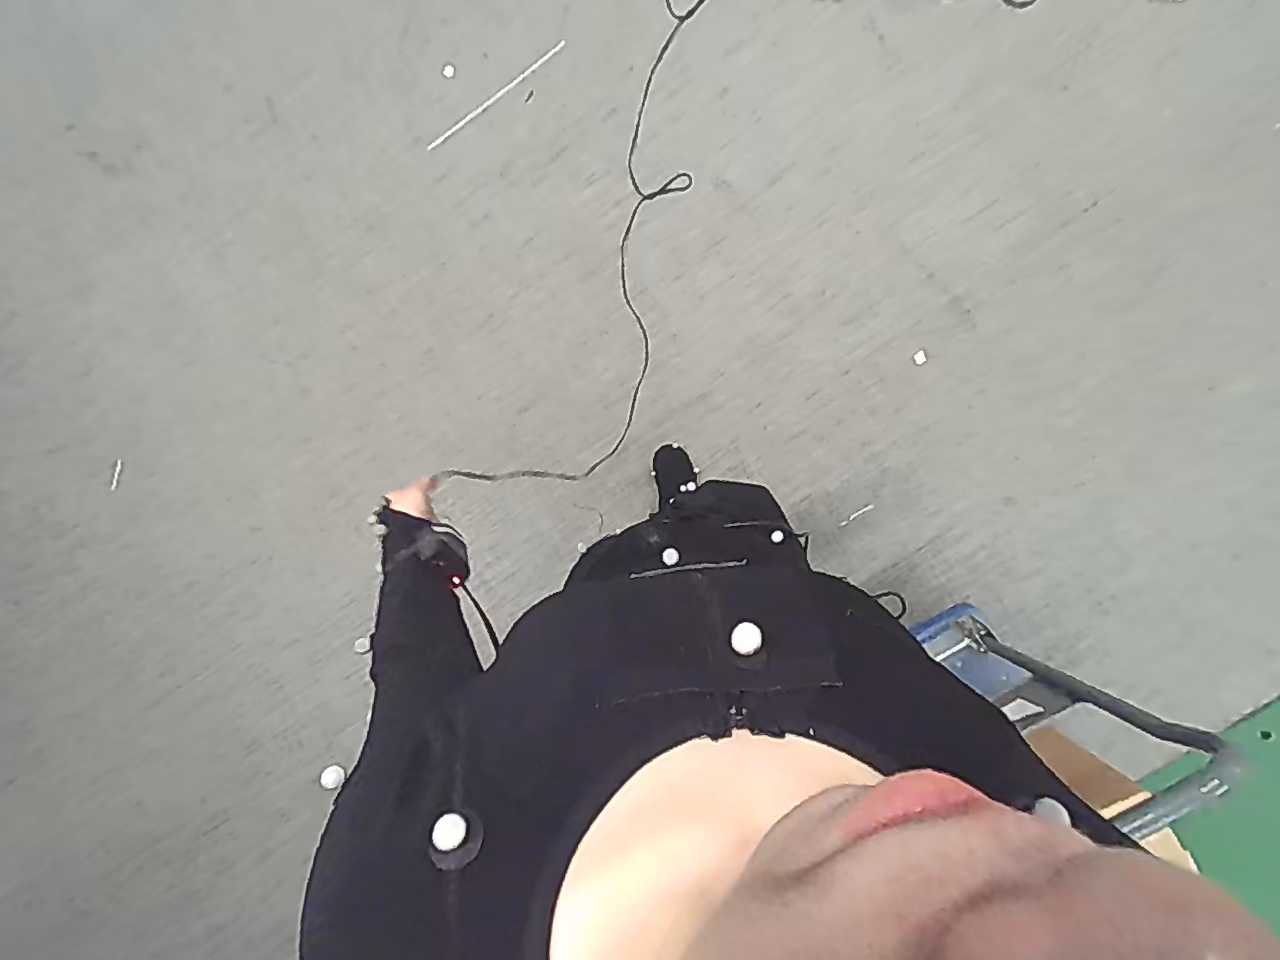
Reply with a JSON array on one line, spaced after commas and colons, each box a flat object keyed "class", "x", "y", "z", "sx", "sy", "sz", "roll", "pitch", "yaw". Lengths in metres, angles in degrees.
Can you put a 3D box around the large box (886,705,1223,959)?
[{"class": "large box", "x": 0.820, "y": 0.755, "z": 1.137, "sx": 0.408, "sy": 0.320, "sz": 0.320, "roll": -29, "pitch": 88, "yaw": 5}]
